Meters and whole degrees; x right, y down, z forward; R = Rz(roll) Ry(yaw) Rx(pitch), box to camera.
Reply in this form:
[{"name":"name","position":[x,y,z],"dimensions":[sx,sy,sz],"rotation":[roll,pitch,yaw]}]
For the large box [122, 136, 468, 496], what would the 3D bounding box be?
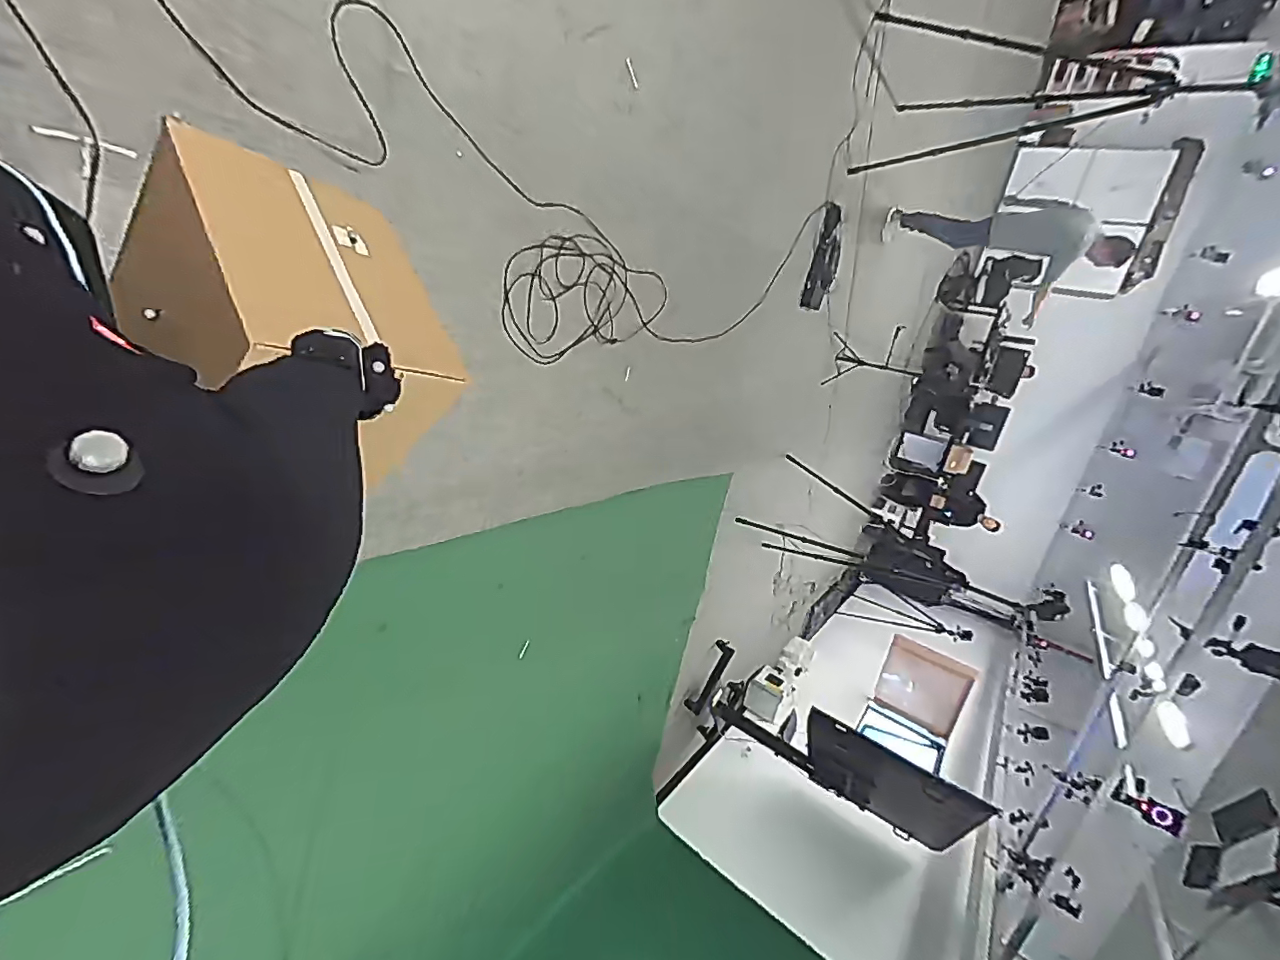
[{"name":"large box","position":[-0.558,-0.226,0.872],"dimensions":[0.320,0.408,0.320],"rotation":[-40,161,25]}]
